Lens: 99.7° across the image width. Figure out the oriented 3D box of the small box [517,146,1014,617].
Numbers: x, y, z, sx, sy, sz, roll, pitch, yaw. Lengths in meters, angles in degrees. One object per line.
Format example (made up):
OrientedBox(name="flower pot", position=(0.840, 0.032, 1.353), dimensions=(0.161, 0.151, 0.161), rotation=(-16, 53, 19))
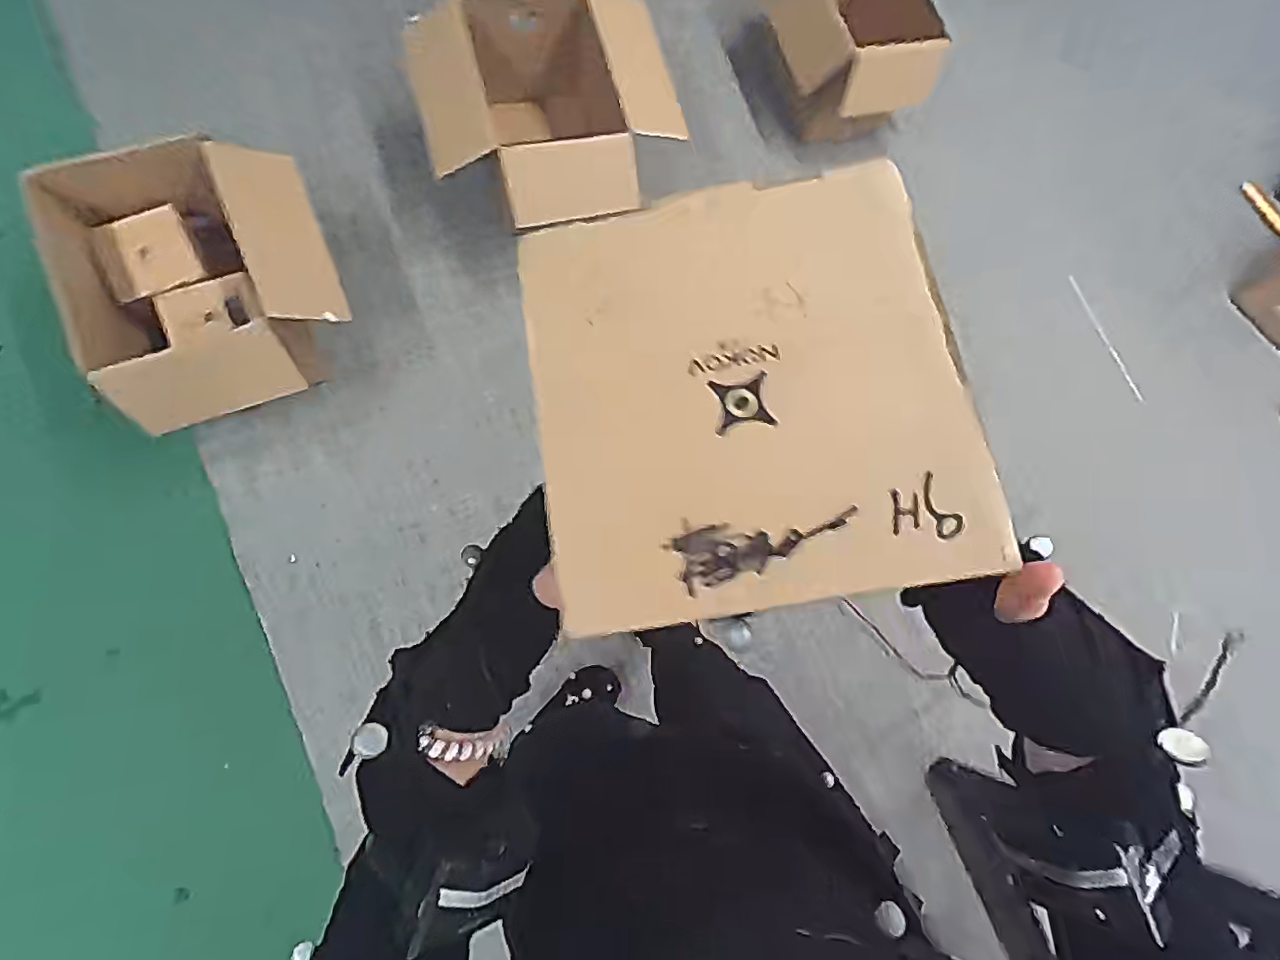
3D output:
OrientedBox(name="small box", position=(0.046, -0.026, 0.289), dimensions=(0.168, 0.176, 0.179), rotation=(-10, 75, 6))
